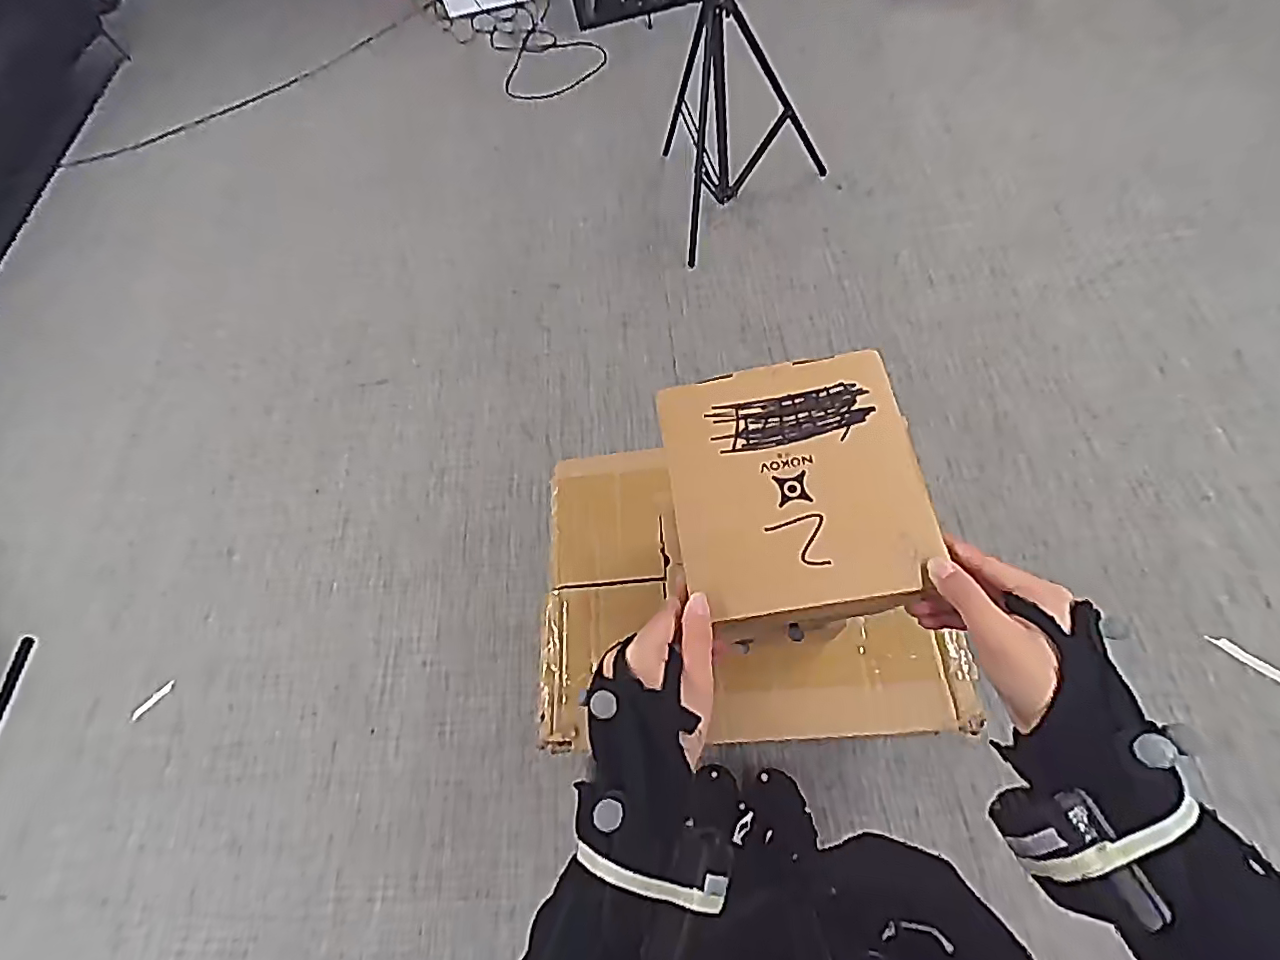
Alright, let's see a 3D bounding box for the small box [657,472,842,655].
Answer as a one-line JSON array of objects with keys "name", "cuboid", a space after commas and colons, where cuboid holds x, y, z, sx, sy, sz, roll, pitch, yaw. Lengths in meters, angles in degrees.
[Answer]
[{"name": "small box", "cuboid": [0.121, 0.107, 0.633, 0.179, 0.176, 0.168, -6, 65, 8]}]
